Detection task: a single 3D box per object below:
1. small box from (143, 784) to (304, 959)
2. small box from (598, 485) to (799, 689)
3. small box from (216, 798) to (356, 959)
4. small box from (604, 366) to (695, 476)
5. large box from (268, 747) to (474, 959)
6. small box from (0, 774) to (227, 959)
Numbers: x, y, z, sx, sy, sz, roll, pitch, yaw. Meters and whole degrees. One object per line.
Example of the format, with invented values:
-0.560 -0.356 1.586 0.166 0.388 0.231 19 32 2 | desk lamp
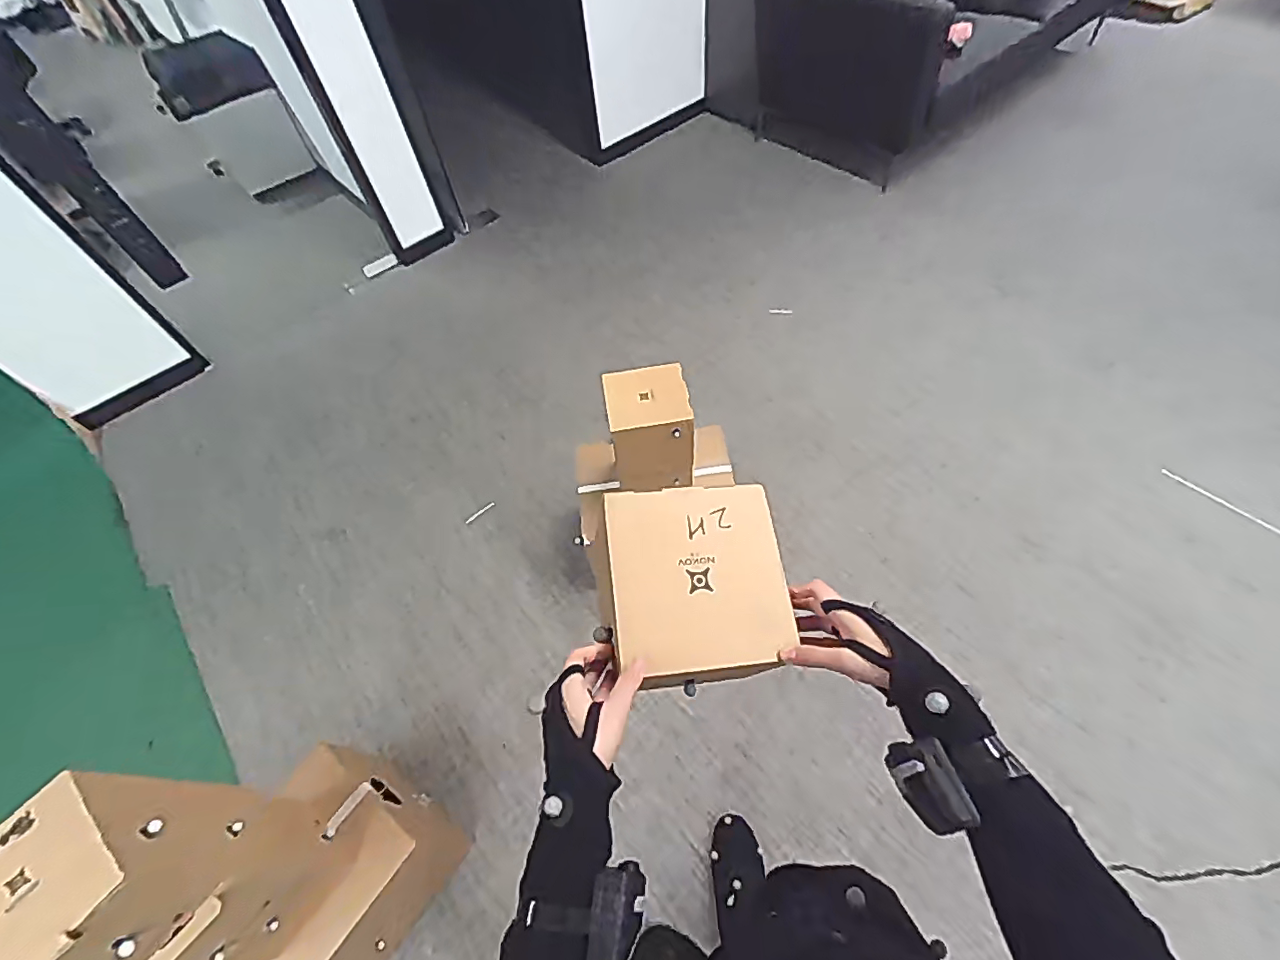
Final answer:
-0.644 0.581 0.792 0.179 0.176 0.168 34 65 24 | small box
0.045 0.121 0.574 0.168 0.176 0.179 -3 64 -9 | small box
-0.633 0.681 0.921 0.168 0.176 0.179 32 64 23 | small box
0.023 -0.125 1.199 0.179 0.176 0.168 -9 56 -2 | small box
-0.627 0.838 1.111 0.320 0.320 0.408 28 64 23 | large box
-0.662 0.491 0.655 0.179 0.176 0.168 33 65 22 | small box
